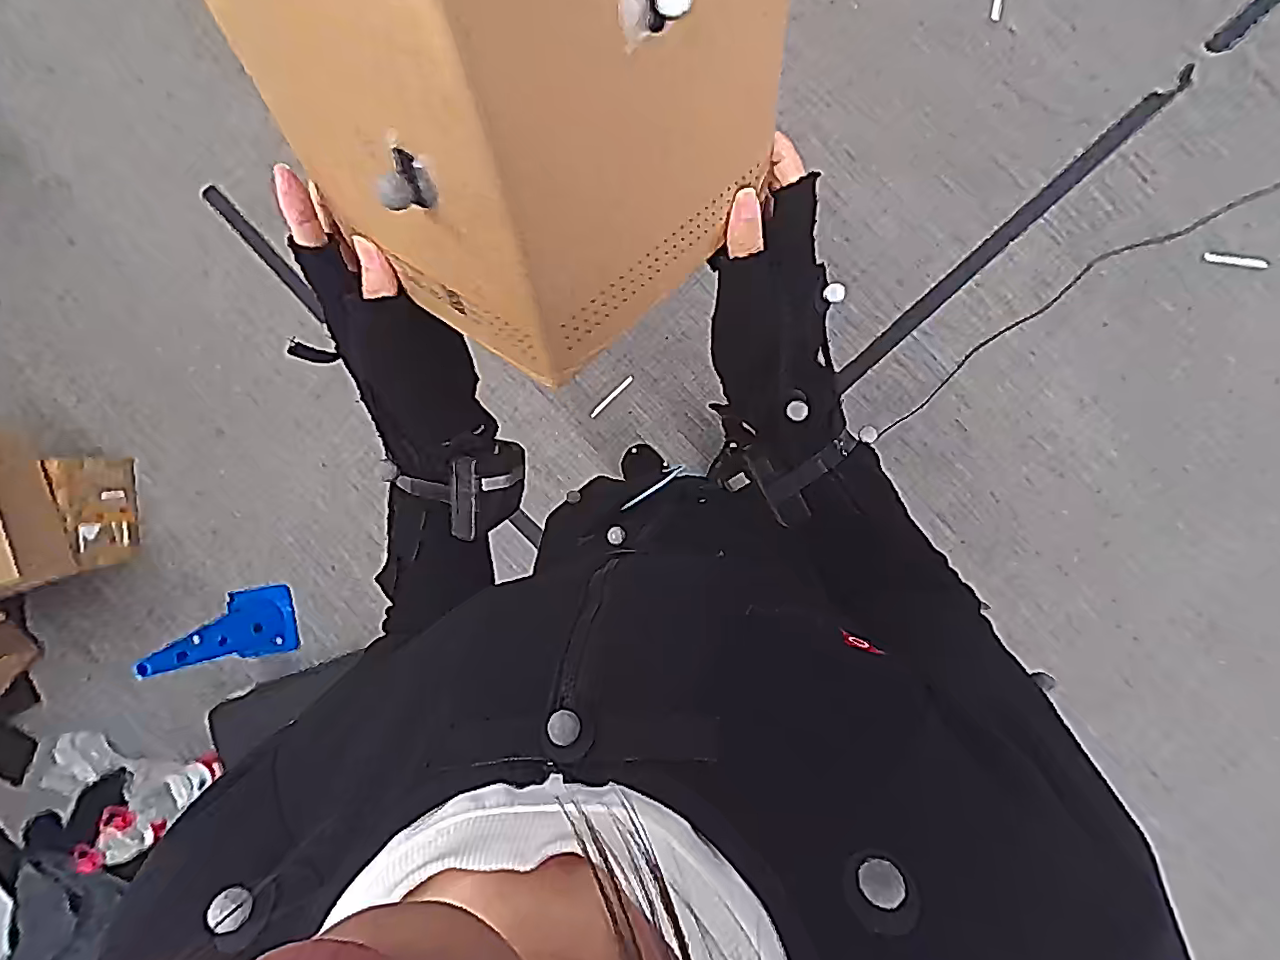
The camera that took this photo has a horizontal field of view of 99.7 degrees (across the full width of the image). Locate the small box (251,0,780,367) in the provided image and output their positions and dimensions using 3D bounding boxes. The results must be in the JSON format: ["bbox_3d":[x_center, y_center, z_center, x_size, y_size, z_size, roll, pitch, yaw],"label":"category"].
[{"bbox_3d":[-0.042,-0.189,0.266,0.168,0.176,0.179,35,66,23],"label":"small box"}]
